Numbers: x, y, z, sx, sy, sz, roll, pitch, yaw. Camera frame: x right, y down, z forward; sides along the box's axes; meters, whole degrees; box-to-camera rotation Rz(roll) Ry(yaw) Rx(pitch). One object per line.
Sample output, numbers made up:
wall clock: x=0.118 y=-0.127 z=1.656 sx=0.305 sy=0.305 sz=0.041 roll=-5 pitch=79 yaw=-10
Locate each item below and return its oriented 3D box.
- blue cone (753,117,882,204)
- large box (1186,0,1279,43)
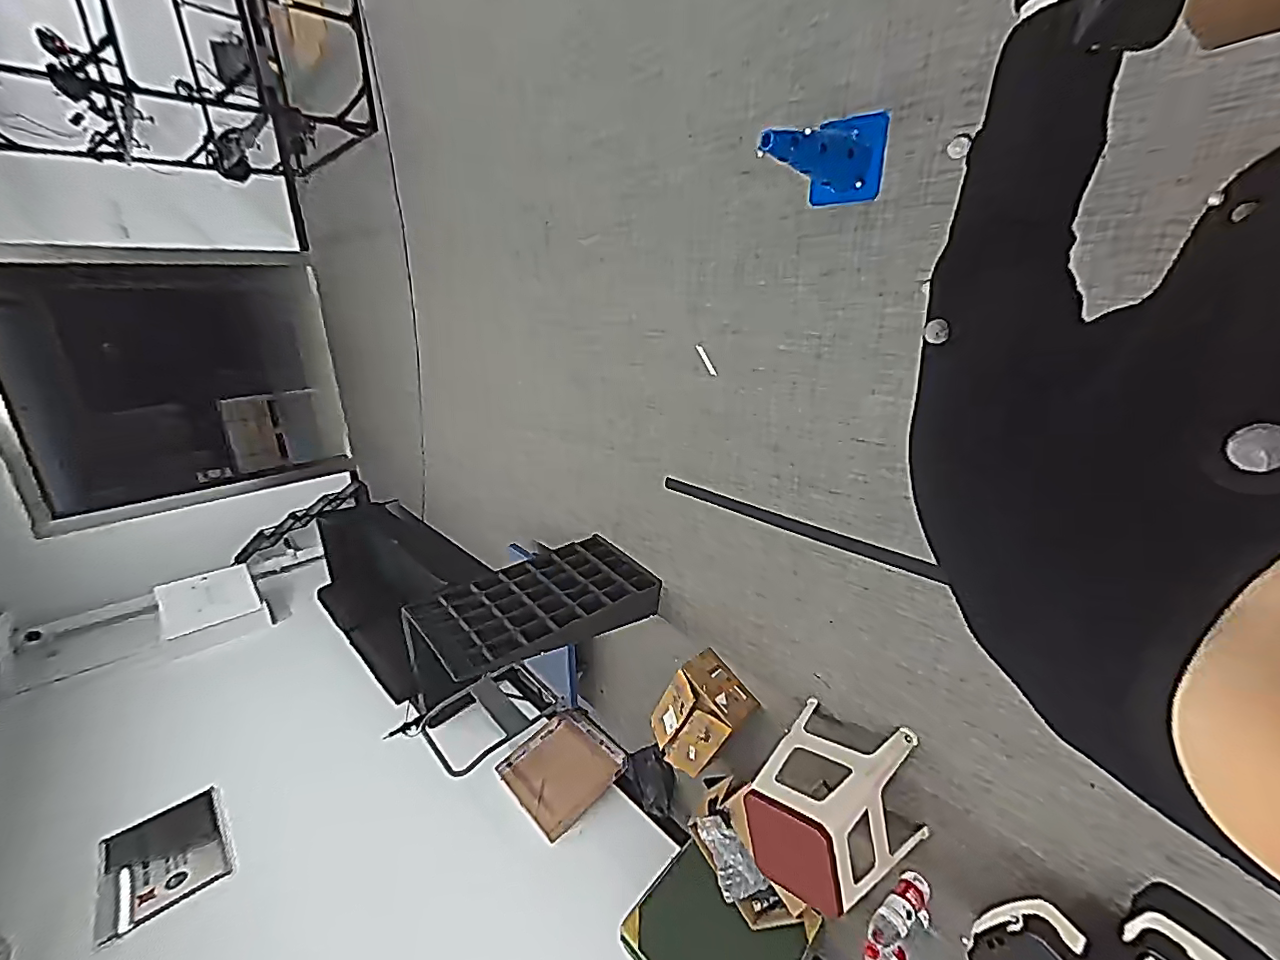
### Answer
blue cone: x=0.416 y=-0.803 z=1.328 sx=0.192 sy=0.380 sz=0.193 roll=24 pitch=122 yaw=44
large box: x=0.529 y=-0.465 z=0.222 sx=0.408 sy=0.320 sz=0.320 roll=13 pitch=120 yaw=45
